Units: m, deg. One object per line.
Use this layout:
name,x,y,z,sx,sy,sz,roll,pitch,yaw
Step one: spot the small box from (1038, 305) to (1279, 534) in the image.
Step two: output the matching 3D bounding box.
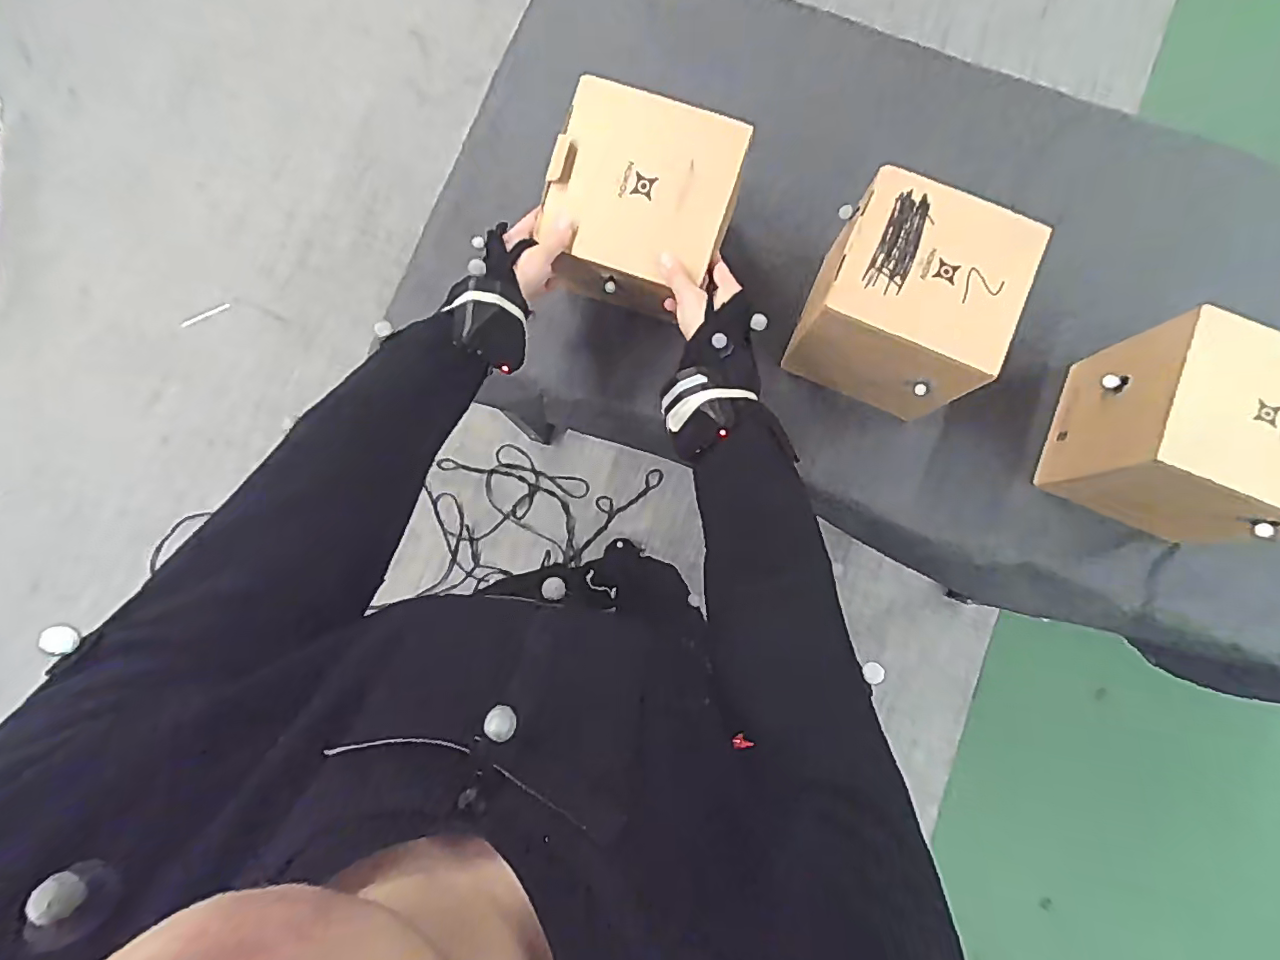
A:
small box,0.575,-0.048,0.570,0.179,0.176,0.168,23,83,3
